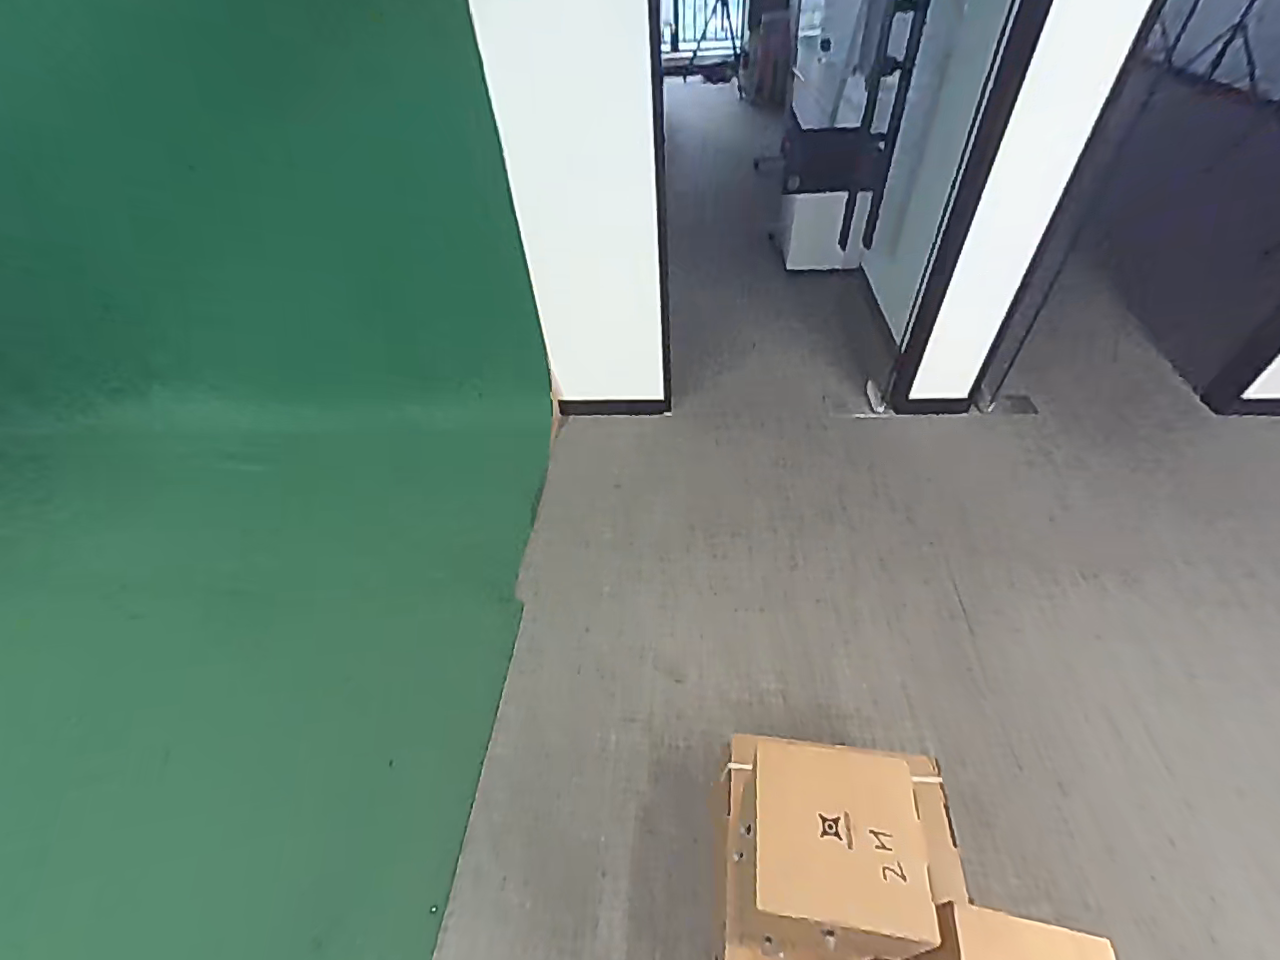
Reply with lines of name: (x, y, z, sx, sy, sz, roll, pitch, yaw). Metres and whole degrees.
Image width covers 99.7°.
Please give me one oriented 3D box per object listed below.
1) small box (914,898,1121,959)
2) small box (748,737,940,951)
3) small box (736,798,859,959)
small box: (0.453, 0.632, 0.648, 0.179, 0.176, 0.168, 6, 46, 11)
small box: (0.220, 0.428, 0.636, 0.179, 0.176, 0.168, 4, 46, 10)
small box: (0.247, 0.651, 0.878, 0.168, 0.176, 0.179, 5, 45, 11)
